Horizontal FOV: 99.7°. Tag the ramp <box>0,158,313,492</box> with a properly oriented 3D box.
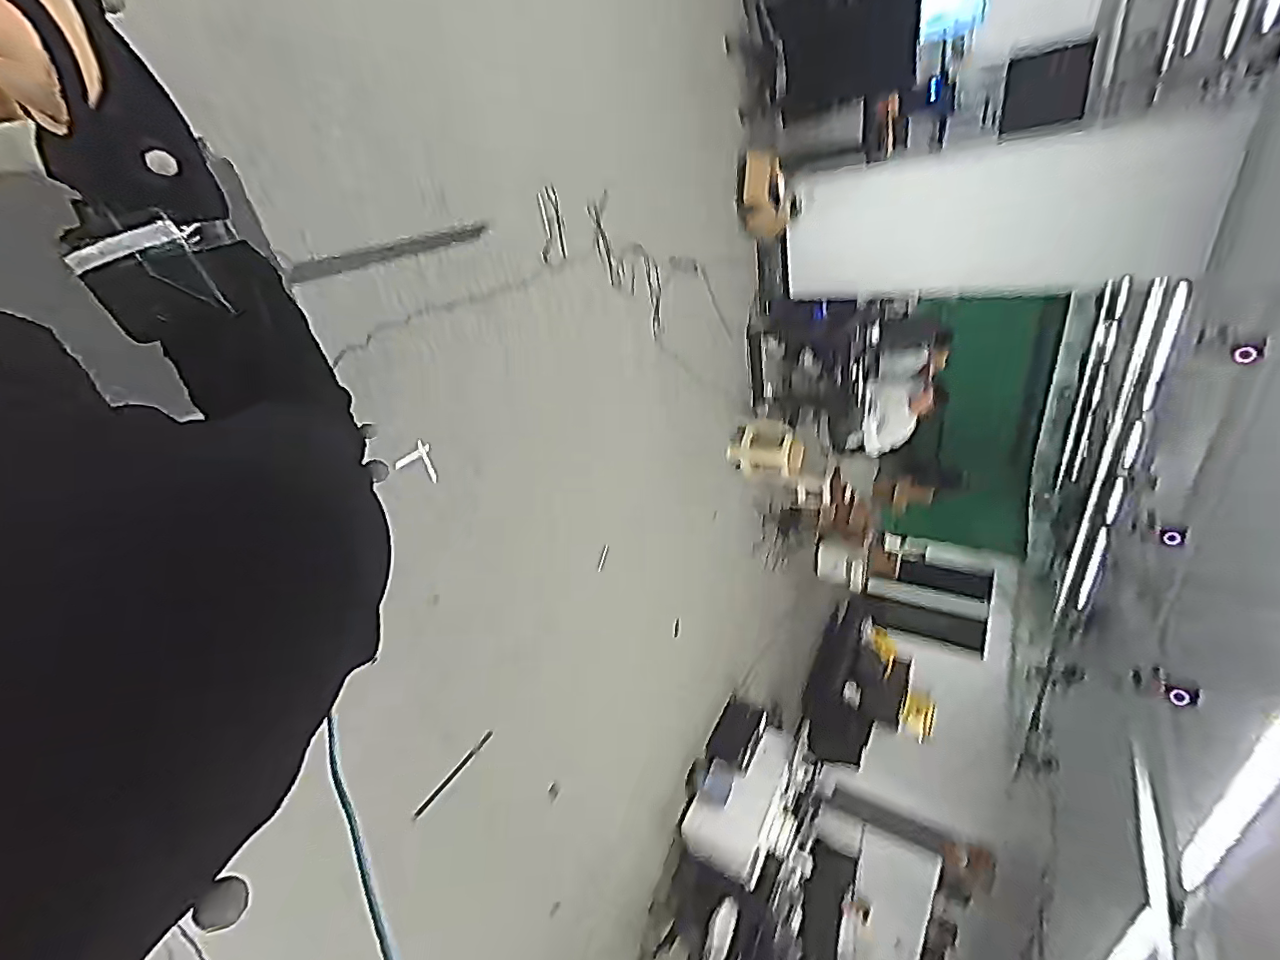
[{"bbox_3d":[-1.117,-0.283,0.983,0.991,0.206,0.509,-47,134,-43],"label":"ramp"}]
